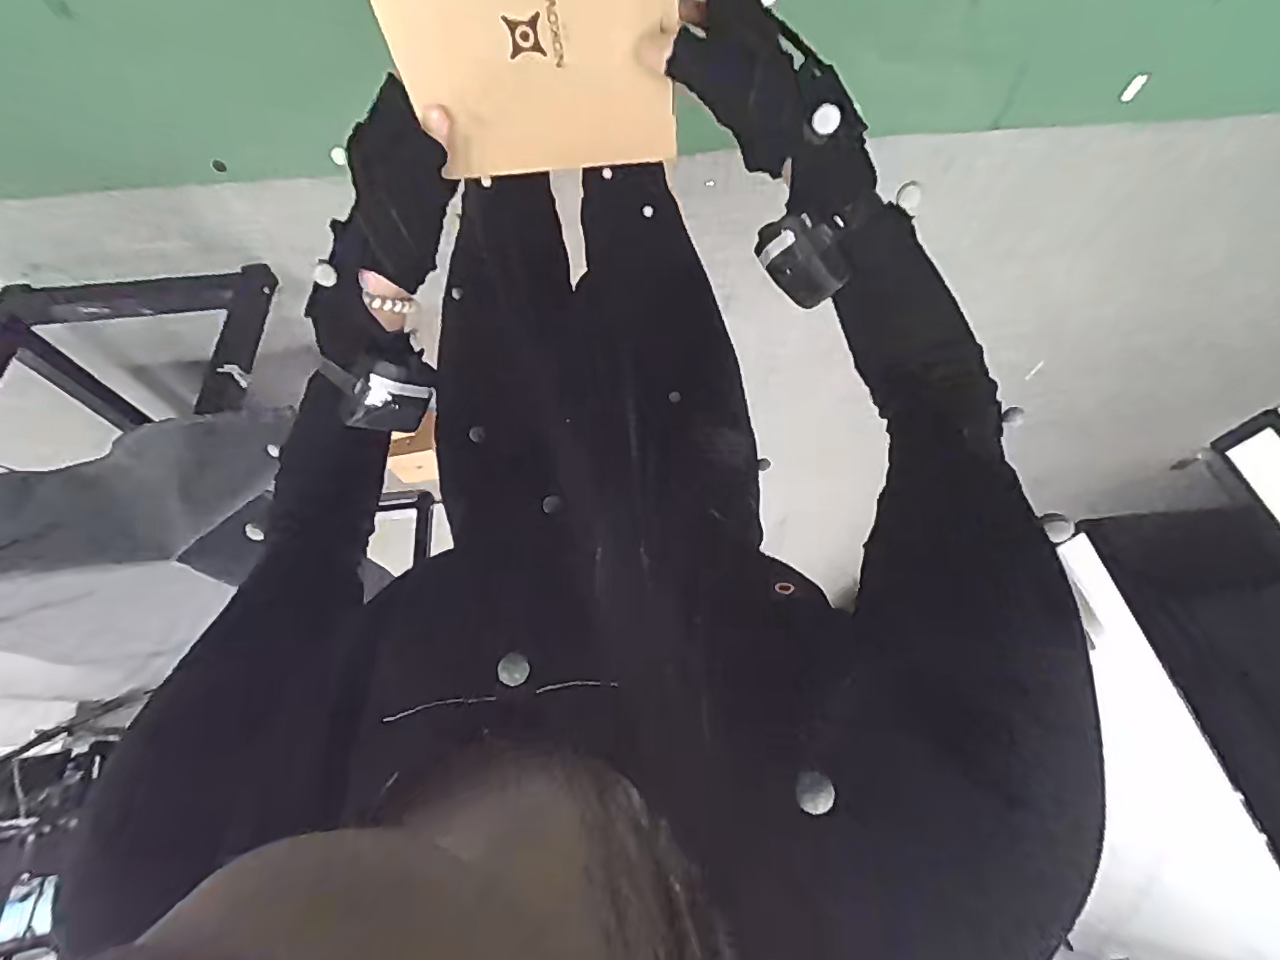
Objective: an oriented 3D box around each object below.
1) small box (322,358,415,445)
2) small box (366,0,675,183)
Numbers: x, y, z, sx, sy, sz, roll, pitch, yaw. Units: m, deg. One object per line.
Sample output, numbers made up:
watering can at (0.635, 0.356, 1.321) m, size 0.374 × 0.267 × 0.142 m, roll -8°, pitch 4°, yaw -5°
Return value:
small box at (-0.777, -0.227, 1.569) m, size 0.179 × 0.176 × 0.168 m, roll -11°, pitch 152°, yaw 7°
small box at (-0.070, -0.333, 0.362) m, size 0.179 × 0.176 × 0.168 m, roll -5°, pitch 153°, yaw 1°
